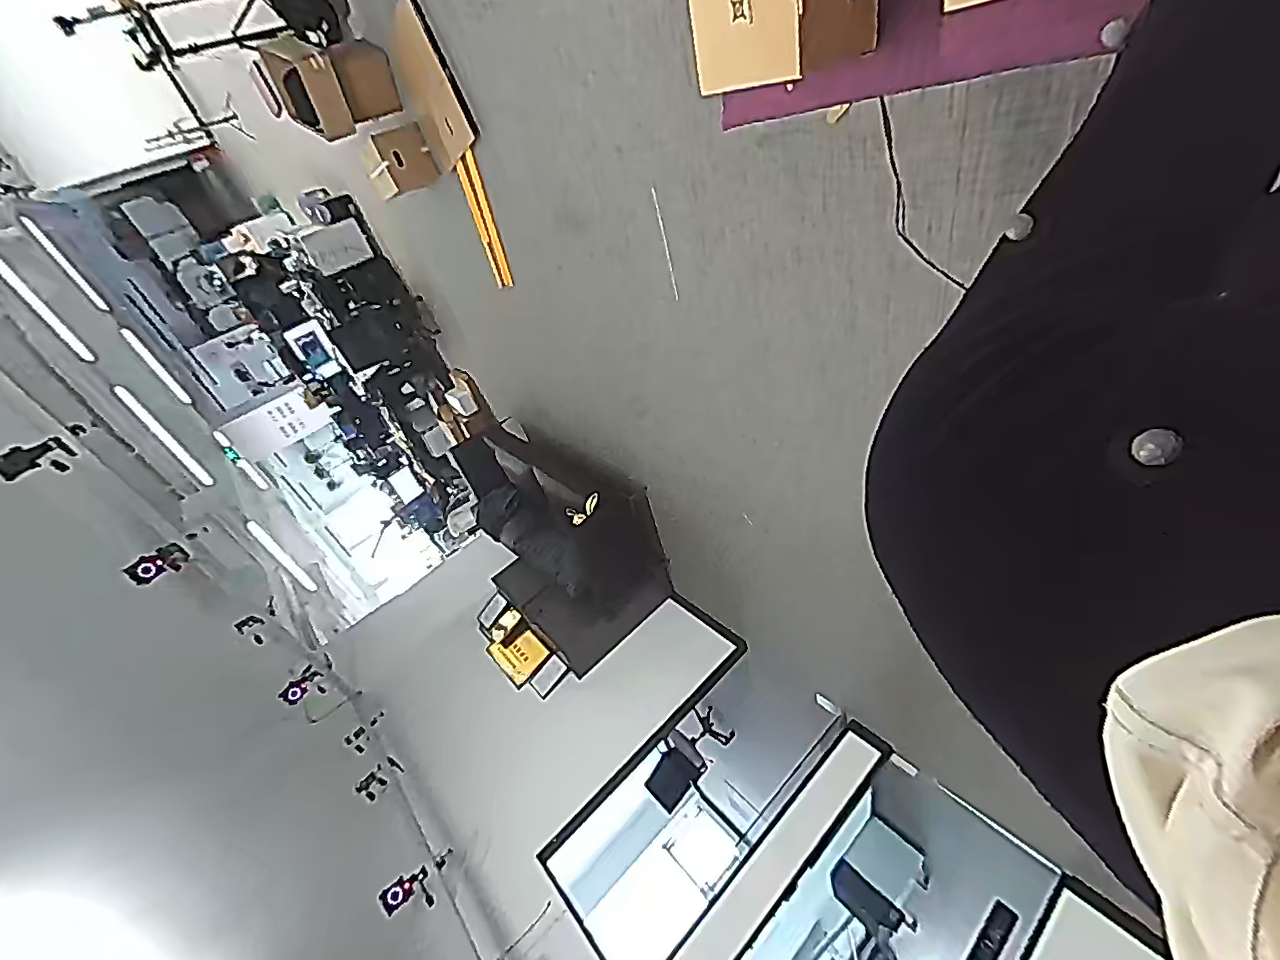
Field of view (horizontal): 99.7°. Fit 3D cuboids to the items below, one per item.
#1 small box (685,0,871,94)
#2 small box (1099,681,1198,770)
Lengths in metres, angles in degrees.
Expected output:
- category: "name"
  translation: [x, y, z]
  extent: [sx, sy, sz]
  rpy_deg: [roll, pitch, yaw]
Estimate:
- category: "small box"
  translation: [0.180, -0.633, 0.710]
  extent: [0.179, 0.176, 0.168]
  rpy_deg: [28, 145, 43]
- category: "small box"
  translation: [1.681, 0.805, 1.786]
  extent: [0.179, 0.176, 0.168]
  rpy_deg: [30, 148, 40]
